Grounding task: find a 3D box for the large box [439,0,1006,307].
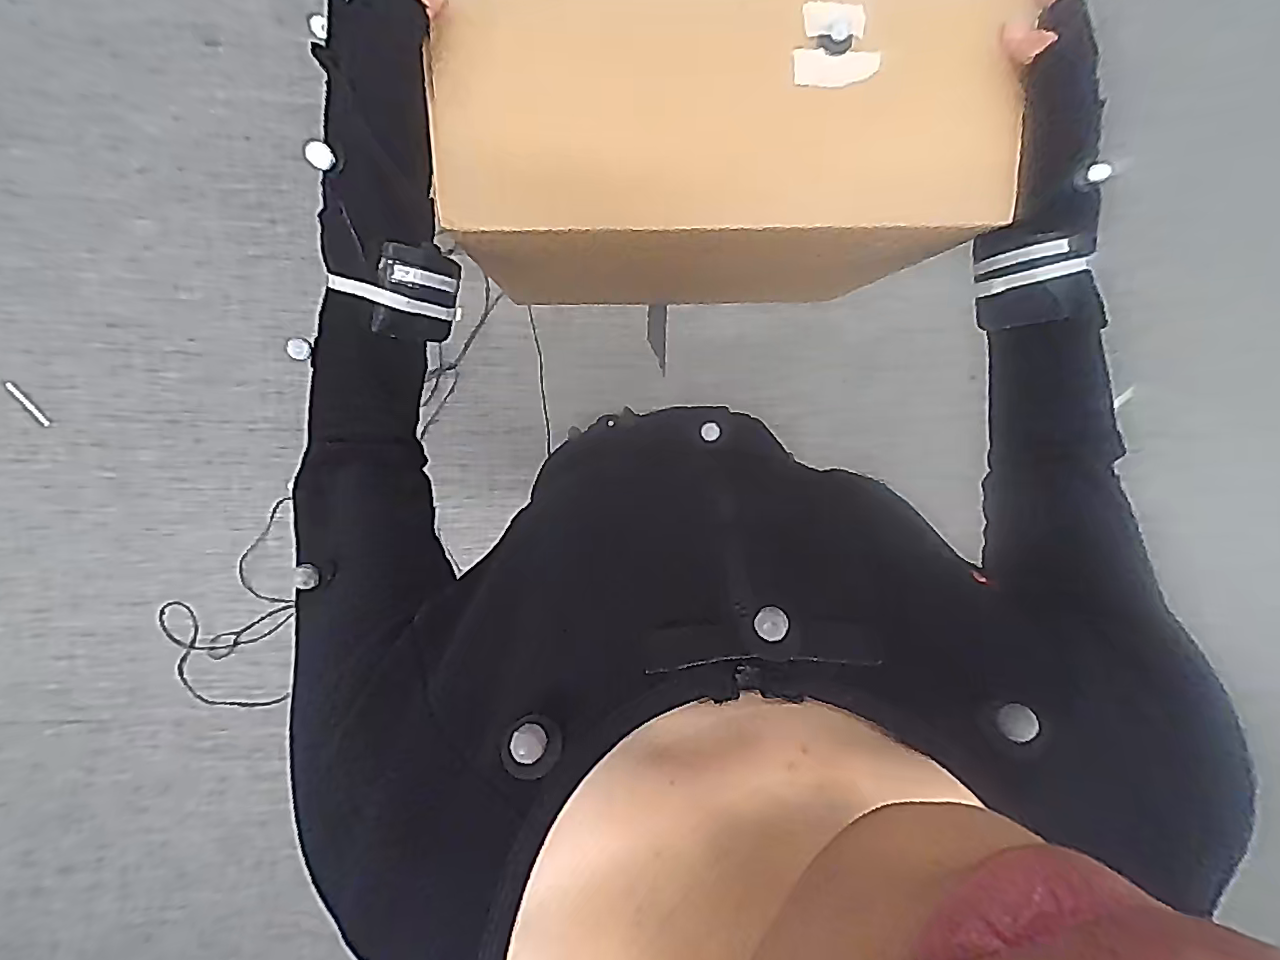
[{"bbox_3d":[0.050,-0.357,0.519,0.408,0.320,0.320,-2,99,-4],"label":"large box"}]
